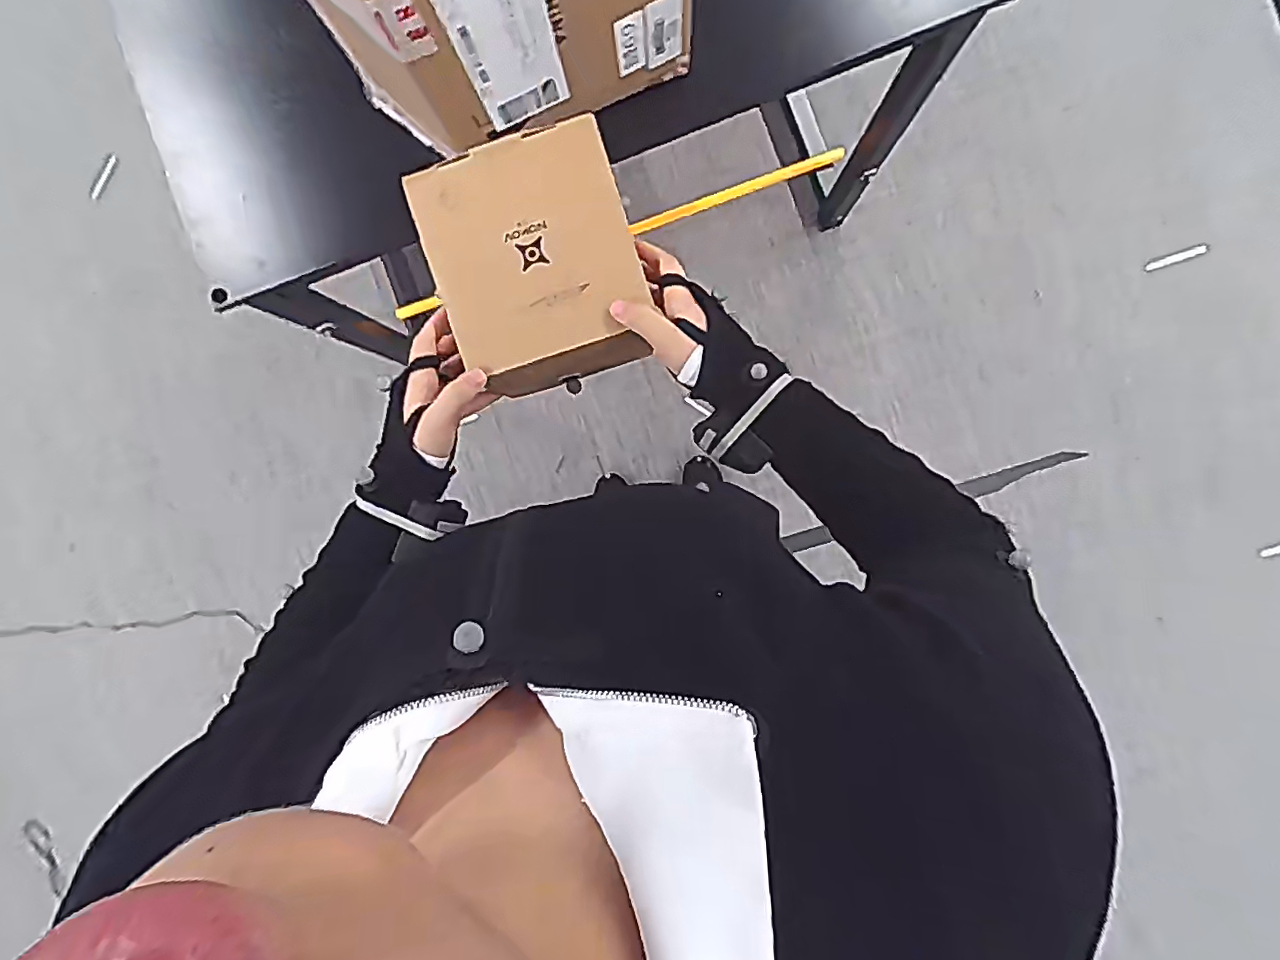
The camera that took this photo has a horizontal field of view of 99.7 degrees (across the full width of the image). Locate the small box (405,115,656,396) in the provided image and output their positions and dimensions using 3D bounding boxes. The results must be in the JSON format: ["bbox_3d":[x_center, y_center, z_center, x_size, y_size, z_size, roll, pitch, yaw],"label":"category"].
[{"bbox_3d":[-0.089,-0.192,0.518,0.168,0.176,0.179,-18,93,1],"label":"small box"}]
